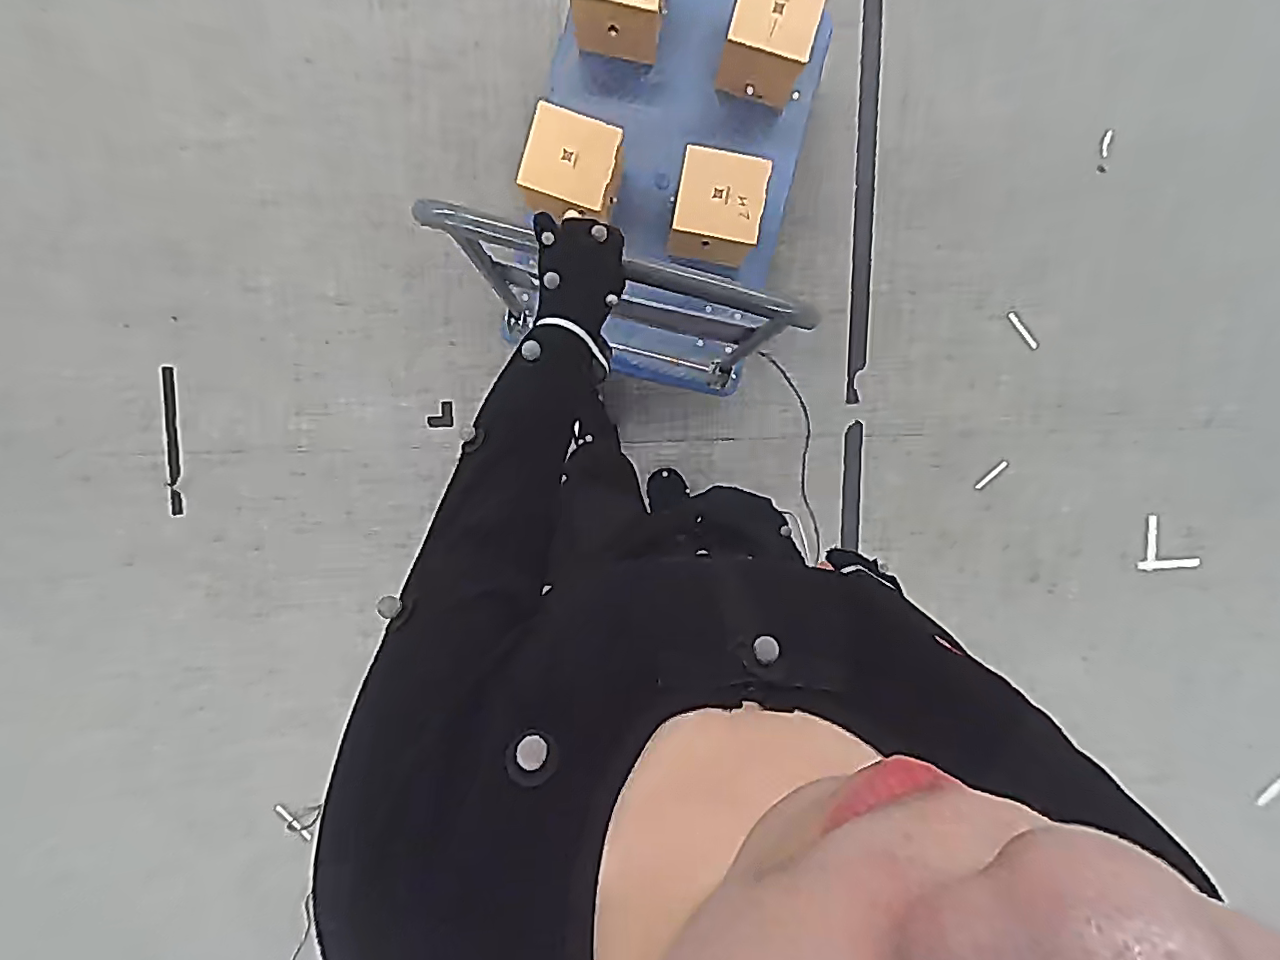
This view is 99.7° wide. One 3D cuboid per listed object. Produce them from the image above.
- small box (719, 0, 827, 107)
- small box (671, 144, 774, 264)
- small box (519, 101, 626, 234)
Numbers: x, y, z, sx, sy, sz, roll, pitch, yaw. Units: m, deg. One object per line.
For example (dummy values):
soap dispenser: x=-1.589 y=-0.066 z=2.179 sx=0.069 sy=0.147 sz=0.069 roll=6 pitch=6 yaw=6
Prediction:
small box: x=0.271 y=-0.924 z=1.114 sx=0.168 sy=0.176 sz=0.179 roll=16 pitch=97 yaw=-2
small box: x=0.165 y=-0.577 z=1.154 sx=0.179 sy=0.176 sz=0.168 roll=10 pitch=96 yaw=-2
small box: x=-0.136 y=-0.646 z=1.142 sx=0.179 sy=0.176 sz=0.168 roll=17 pitch=96 yaw=-4
